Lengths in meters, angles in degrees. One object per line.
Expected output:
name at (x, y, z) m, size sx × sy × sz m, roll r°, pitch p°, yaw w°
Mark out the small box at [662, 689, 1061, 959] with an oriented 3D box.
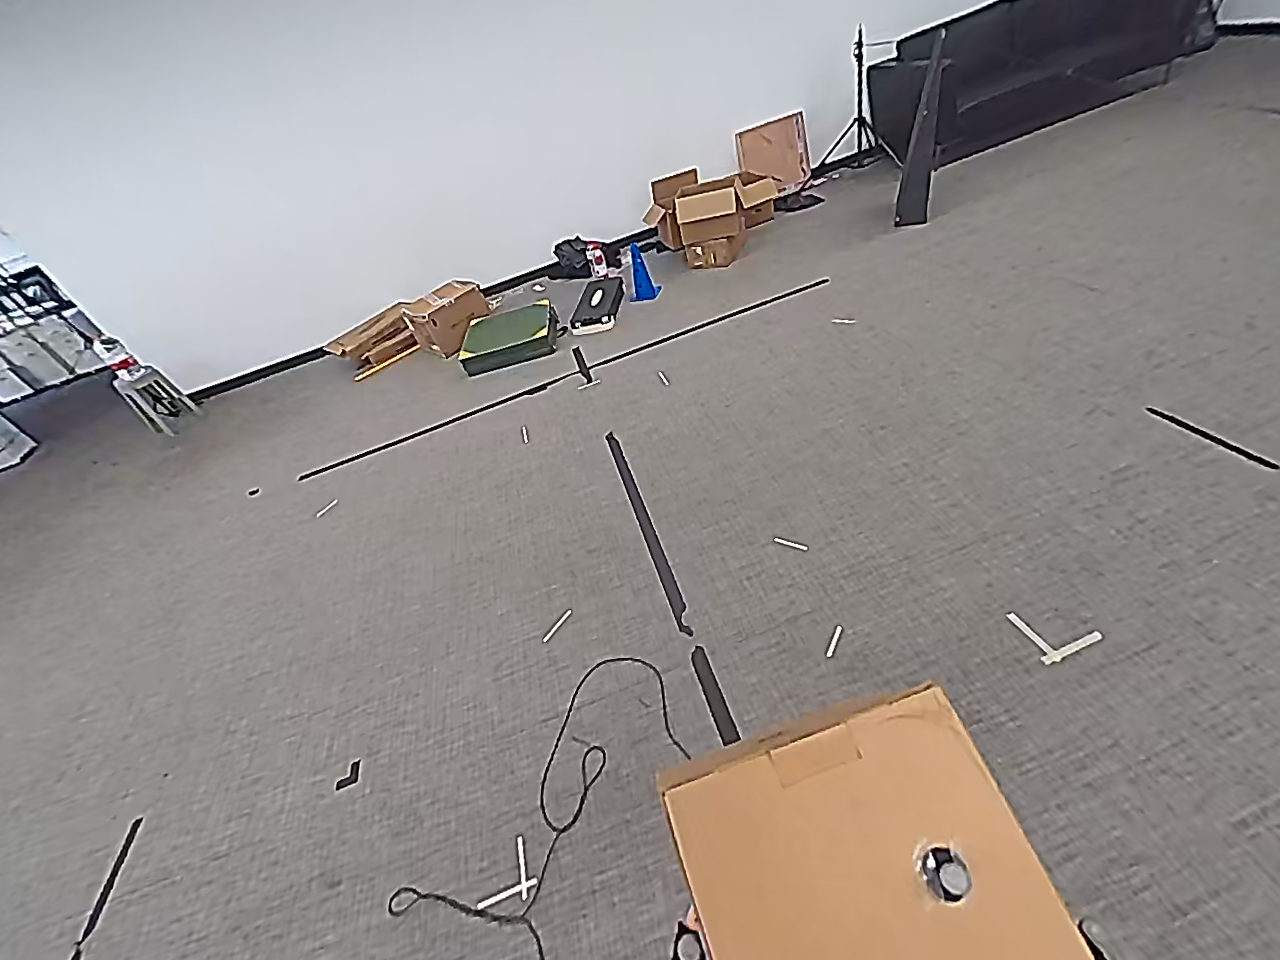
small box at (0.119, 0.252, 0.344) m, size 0.168 × 0.179 × 0.176 m, roll -18°, pitch 65°, yaw -7°
